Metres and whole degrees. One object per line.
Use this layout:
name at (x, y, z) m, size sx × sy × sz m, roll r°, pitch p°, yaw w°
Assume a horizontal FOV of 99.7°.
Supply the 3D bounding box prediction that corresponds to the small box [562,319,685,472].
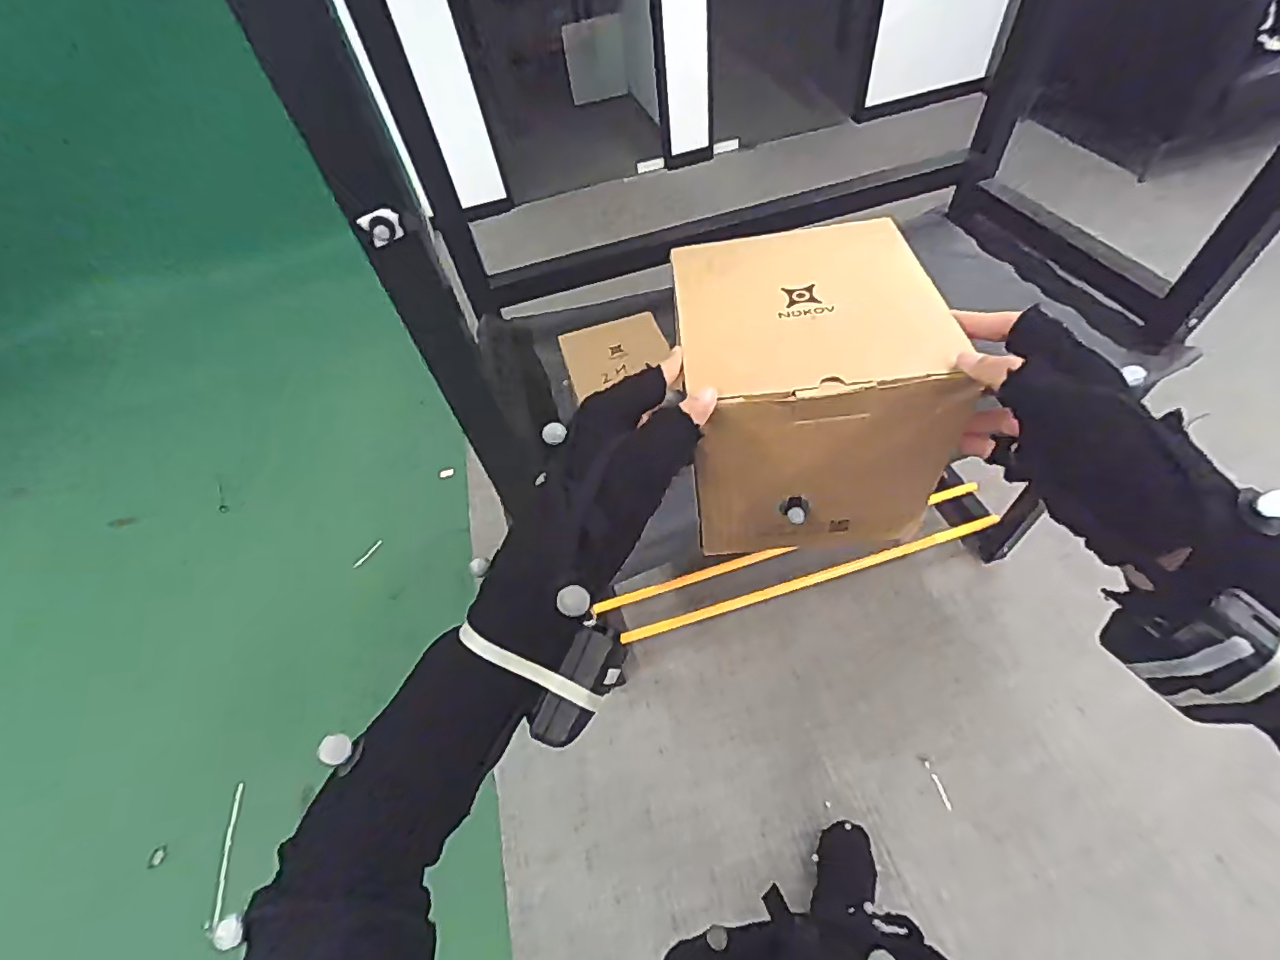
small box at (-0.027, -0.144, 0.939) m, size 0.168 × 0.176 × 0.179 m, roll -17°, pitch 52°, yaw -4°
